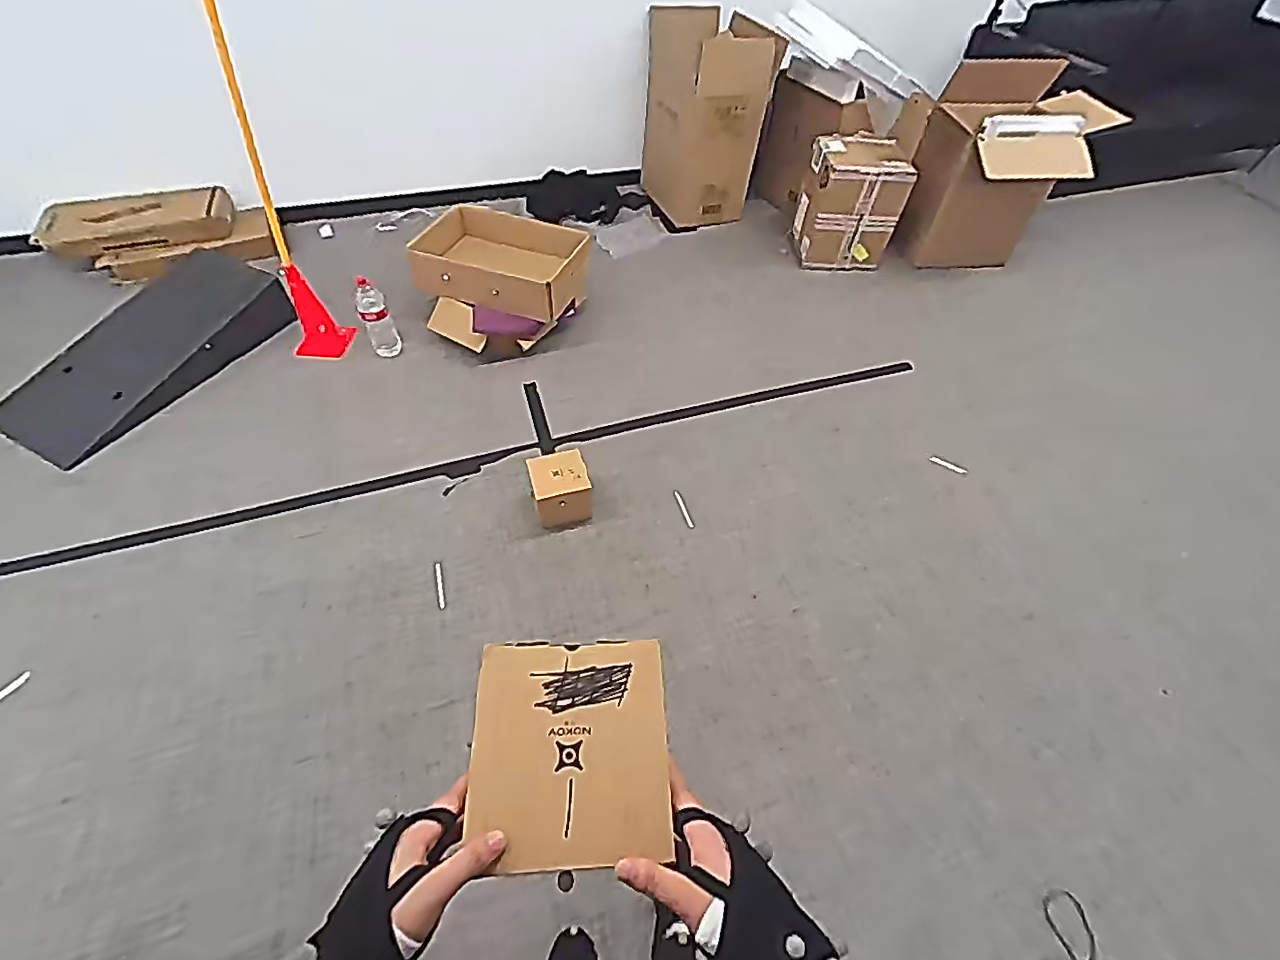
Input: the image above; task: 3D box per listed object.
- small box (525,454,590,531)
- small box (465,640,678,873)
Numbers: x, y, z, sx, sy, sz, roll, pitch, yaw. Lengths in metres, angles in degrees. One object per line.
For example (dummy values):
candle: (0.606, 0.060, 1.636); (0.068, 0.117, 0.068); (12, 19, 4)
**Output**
small box: (-0.263, 0.044, 1.744); (0.179, 0.176, 0.168); (-12, 54, -14)
small box: (-0.062, 0.268, 0.524); (0.168, 0.176, 0.179); (0, 56, -6)
